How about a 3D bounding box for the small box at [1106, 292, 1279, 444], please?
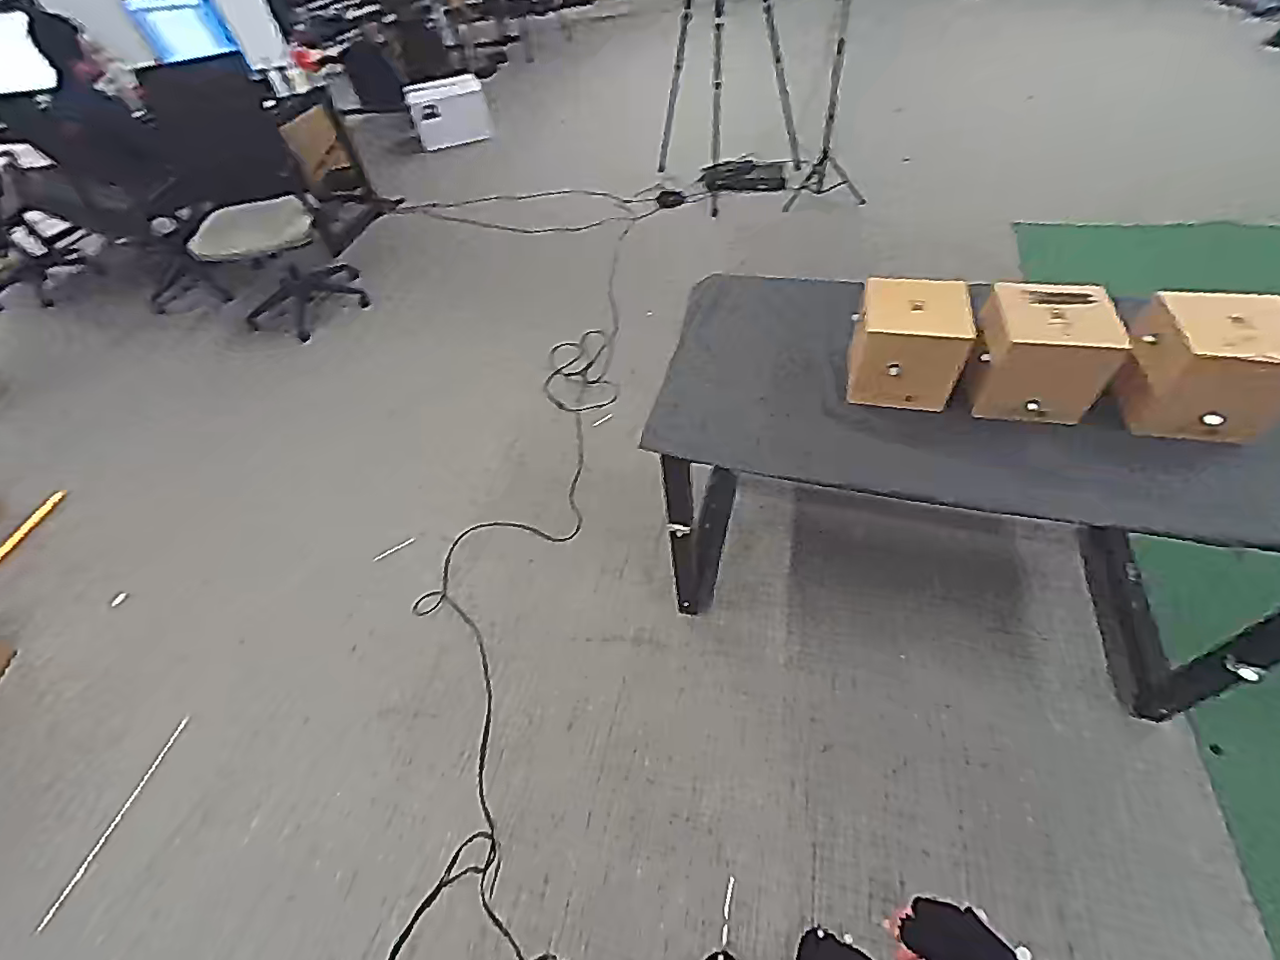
[{"bbox_3d":[0.918,-0.185,0.889,0.168,0.176,0.179,7,51,14],"label":"small box"}]
